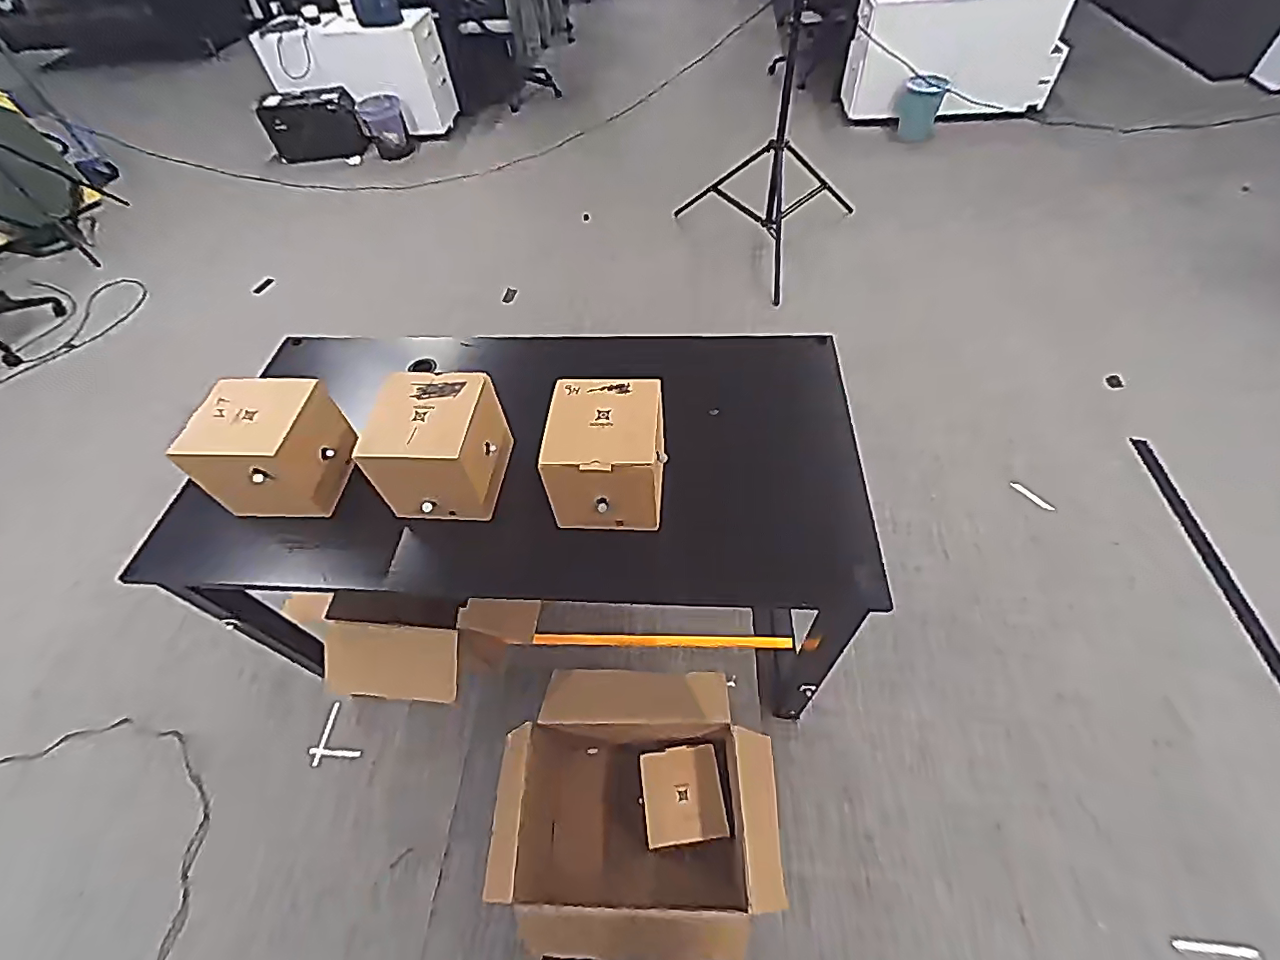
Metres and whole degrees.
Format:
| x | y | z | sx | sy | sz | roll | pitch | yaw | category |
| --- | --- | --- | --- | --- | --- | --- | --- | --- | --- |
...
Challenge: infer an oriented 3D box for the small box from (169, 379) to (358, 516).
| x | y | z | sx | sy | sz | roll | pitch | yaw | category |
| --- | --- | --- | --- | --- | --- | --- | --- | --- | --- |
| -0.611 | -0.050 | 0.912 | 0.179 | 0.176 | 0.168 | 1 | 53 | 4 | small box |

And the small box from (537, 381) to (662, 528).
| x | y | z | sx | sy | sz | roll | pitch | yaw | category |
| --- | --- | --- | --- | --- | --- | --- | --- | --- | --- |
| -0.052 | -0.037 | 0.864 | 0.168 | 0.176 | 0.179 | 1 | 54 | 5 | small box |

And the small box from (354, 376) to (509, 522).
| x | y | z | sx | sy | sz | roll | pitch | yaw | category |
| --- | --- | --- | --- | --- | --- | --- | --- | --- | --- |
| -0.326 | -0.051 | 0.894 | 0.168 | 0.176 | 0.179 | 2 | 54 | 6 | small box |
